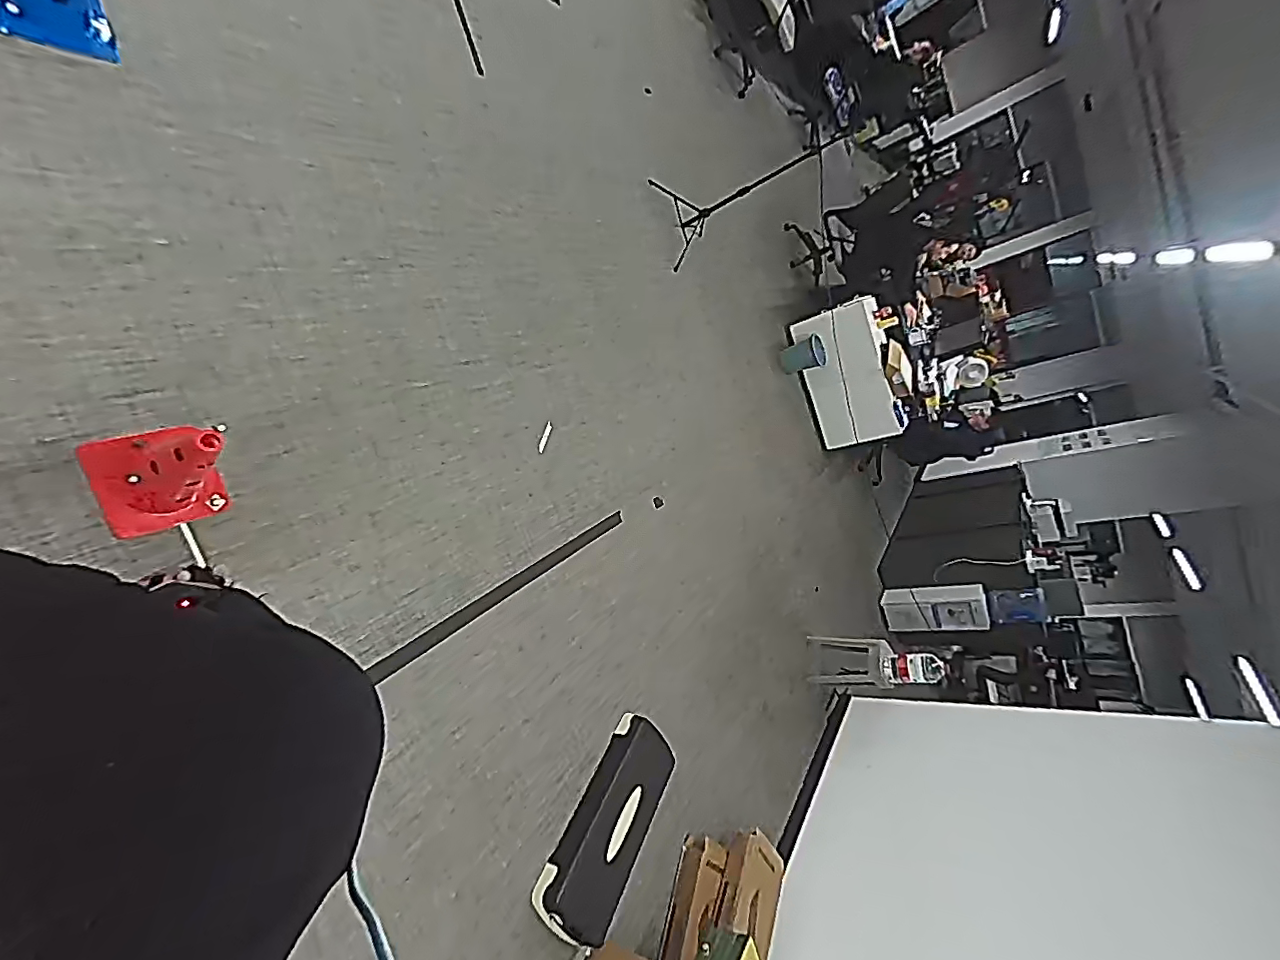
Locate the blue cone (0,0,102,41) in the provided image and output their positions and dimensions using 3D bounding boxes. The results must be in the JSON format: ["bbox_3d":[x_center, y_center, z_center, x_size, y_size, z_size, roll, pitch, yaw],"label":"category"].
[{"bbox_3d":[-1.117,-1.042,1.001,0.193,0.380,0.192,-25,99,-53],"label":"blue cone"}]
